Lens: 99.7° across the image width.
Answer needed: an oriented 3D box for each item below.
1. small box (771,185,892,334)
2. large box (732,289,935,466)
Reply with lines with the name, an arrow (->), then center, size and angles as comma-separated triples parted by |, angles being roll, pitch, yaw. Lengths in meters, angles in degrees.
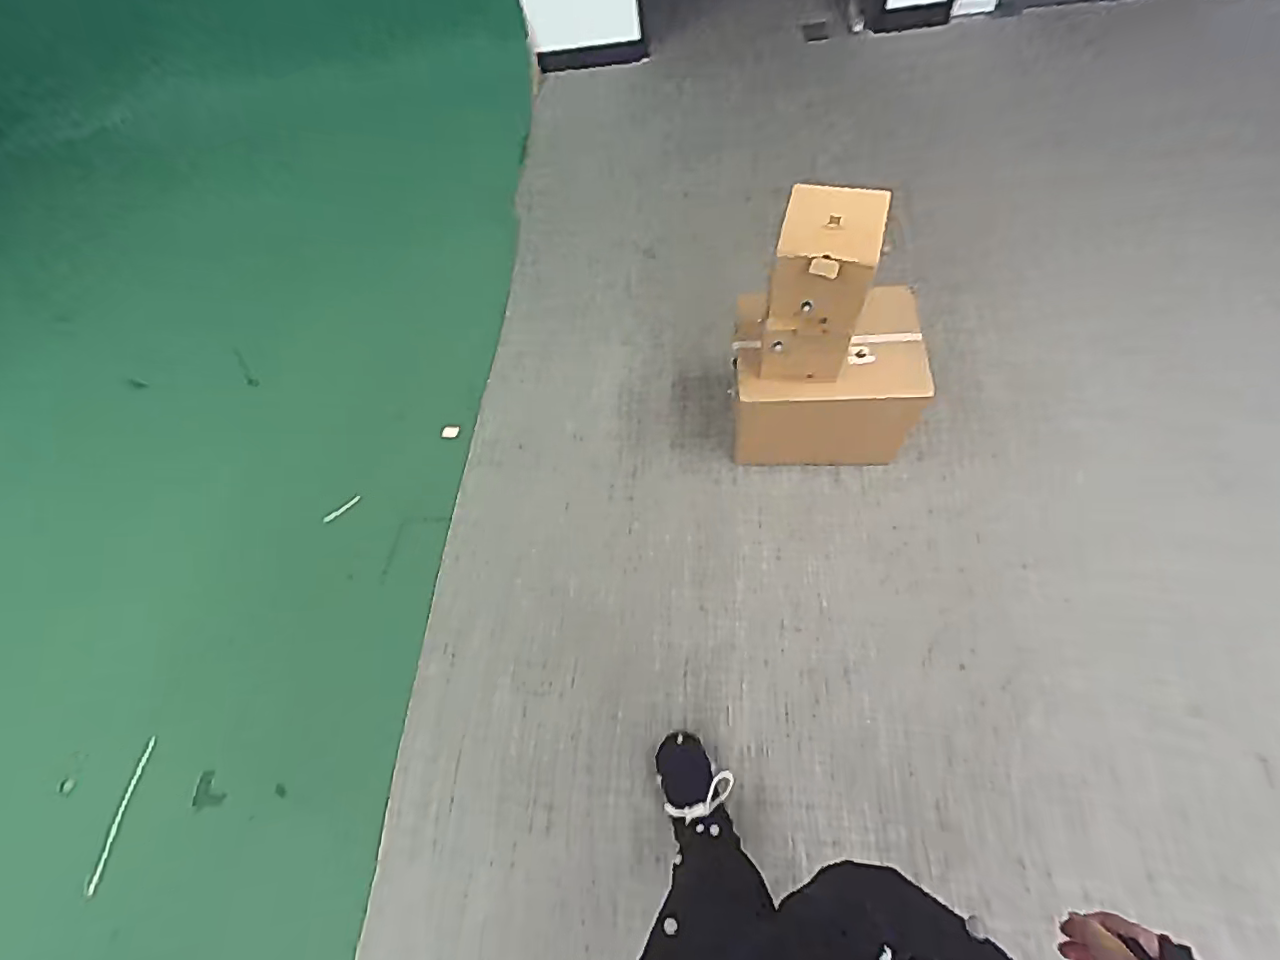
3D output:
small box -> 0.340, -0.397, 0.983 | 0.168, 0.176, 0.179 | 12, 67, 14
large box -> 0.443, -0.240, 1.347 | 0.408, 0.320, 0.320 | -1, 65, 7
